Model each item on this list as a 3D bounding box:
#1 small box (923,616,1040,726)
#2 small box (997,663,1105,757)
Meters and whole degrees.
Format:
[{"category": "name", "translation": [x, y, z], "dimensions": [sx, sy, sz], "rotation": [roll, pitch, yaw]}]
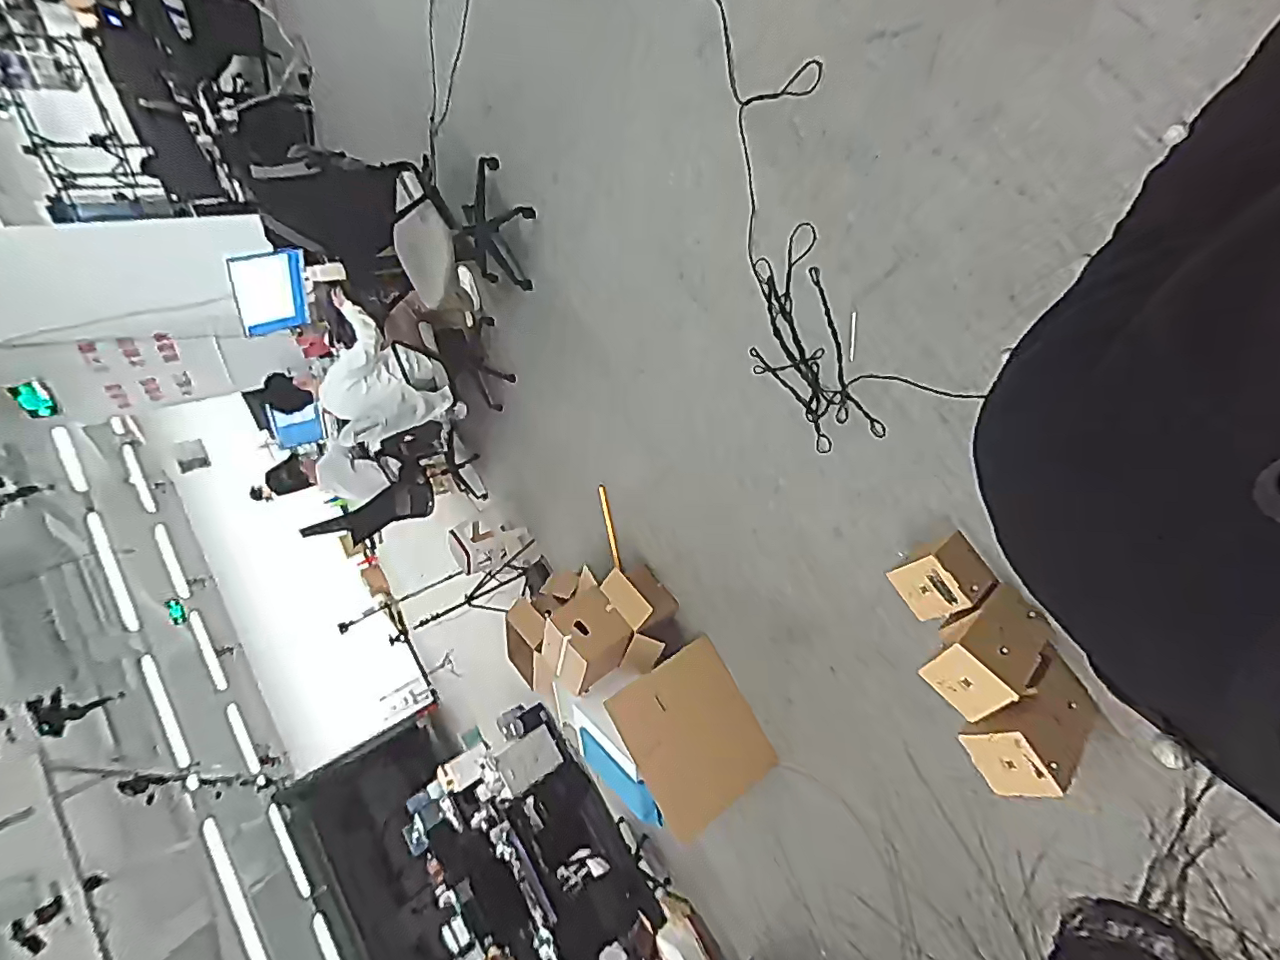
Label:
[{"category": "small box", "translation": [0.873, 0.480, 1.376], "dimensions": [0.168, 0.176, 0.179], "rotation": [46, 142, 25]}, {"category": "small box", "translation": [1.090, 0.613, 1.453], "dimensions": [0.179, 0.176, 0.168], "rotation": [57, 145, 11]}]
